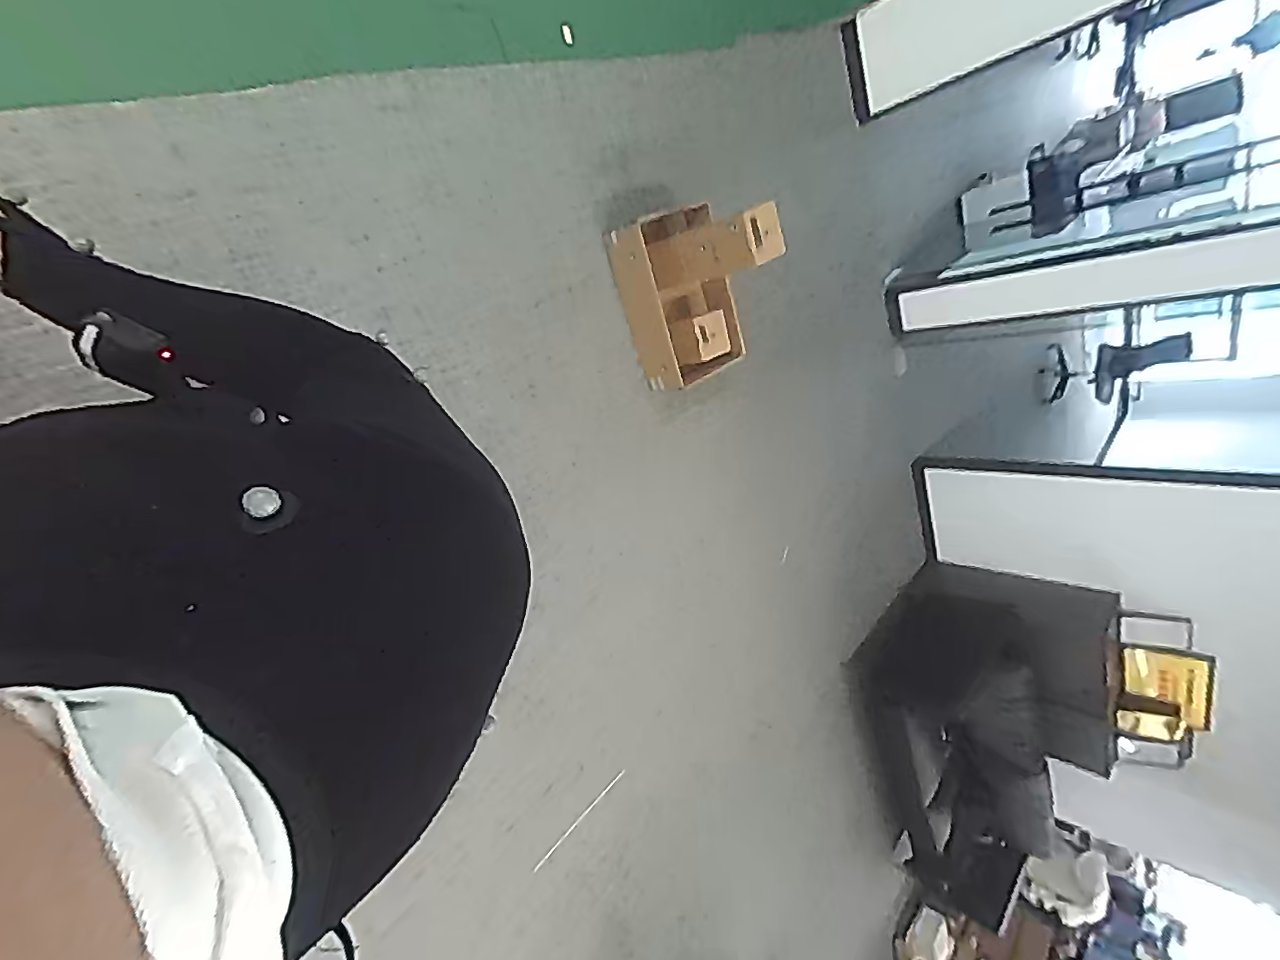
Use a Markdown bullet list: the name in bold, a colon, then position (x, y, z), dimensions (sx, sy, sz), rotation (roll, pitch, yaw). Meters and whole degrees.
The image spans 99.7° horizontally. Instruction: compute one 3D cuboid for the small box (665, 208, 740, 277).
- **small box**: position (0.220, -0.833, 1.902), dimensions (0.179, 0.176, 0.168), rotation (-36, 117, -32)
